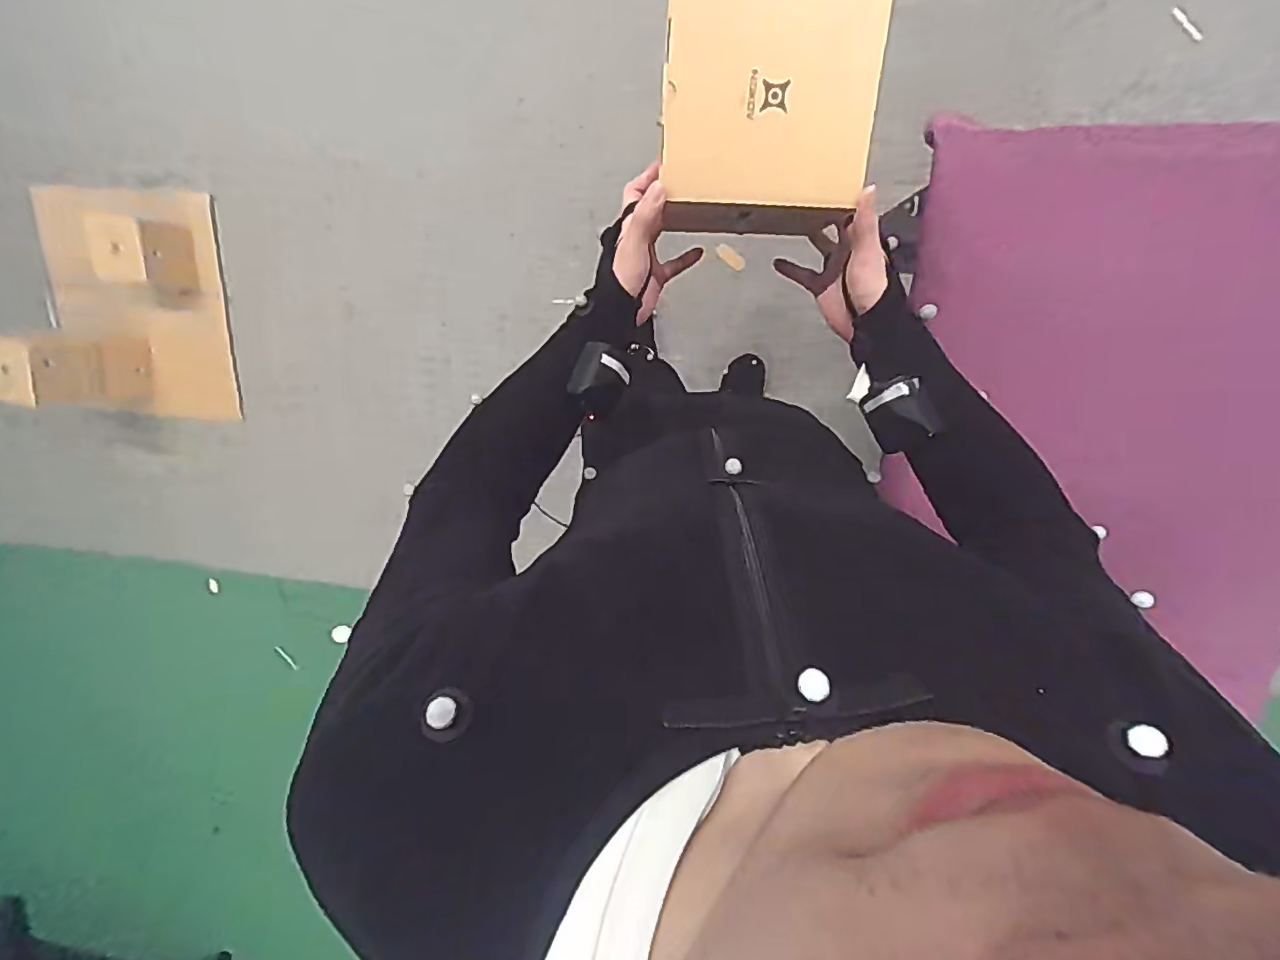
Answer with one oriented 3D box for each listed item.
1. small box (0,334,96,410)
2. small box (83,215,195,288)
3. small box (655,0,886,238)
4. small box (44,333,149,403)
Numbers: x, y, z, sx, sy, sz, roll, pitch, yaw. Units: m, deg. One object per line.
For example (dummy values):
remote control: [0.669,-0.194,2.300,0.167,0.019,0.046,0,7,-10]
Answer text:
small box: [-1.699,-0.311,1.525,0.168,0.176,0.179,13,107,4]
small box: [-1.444,-0.658,1.573,0.168,0.176,0.179,7,106,5]
small box: [0.108,-0.335,0.522,0.179,0.176,0.168,3,107,4]
small box: [-1.685,-0.352,1.685,0.168,0.176,0.179,14,106,4]
